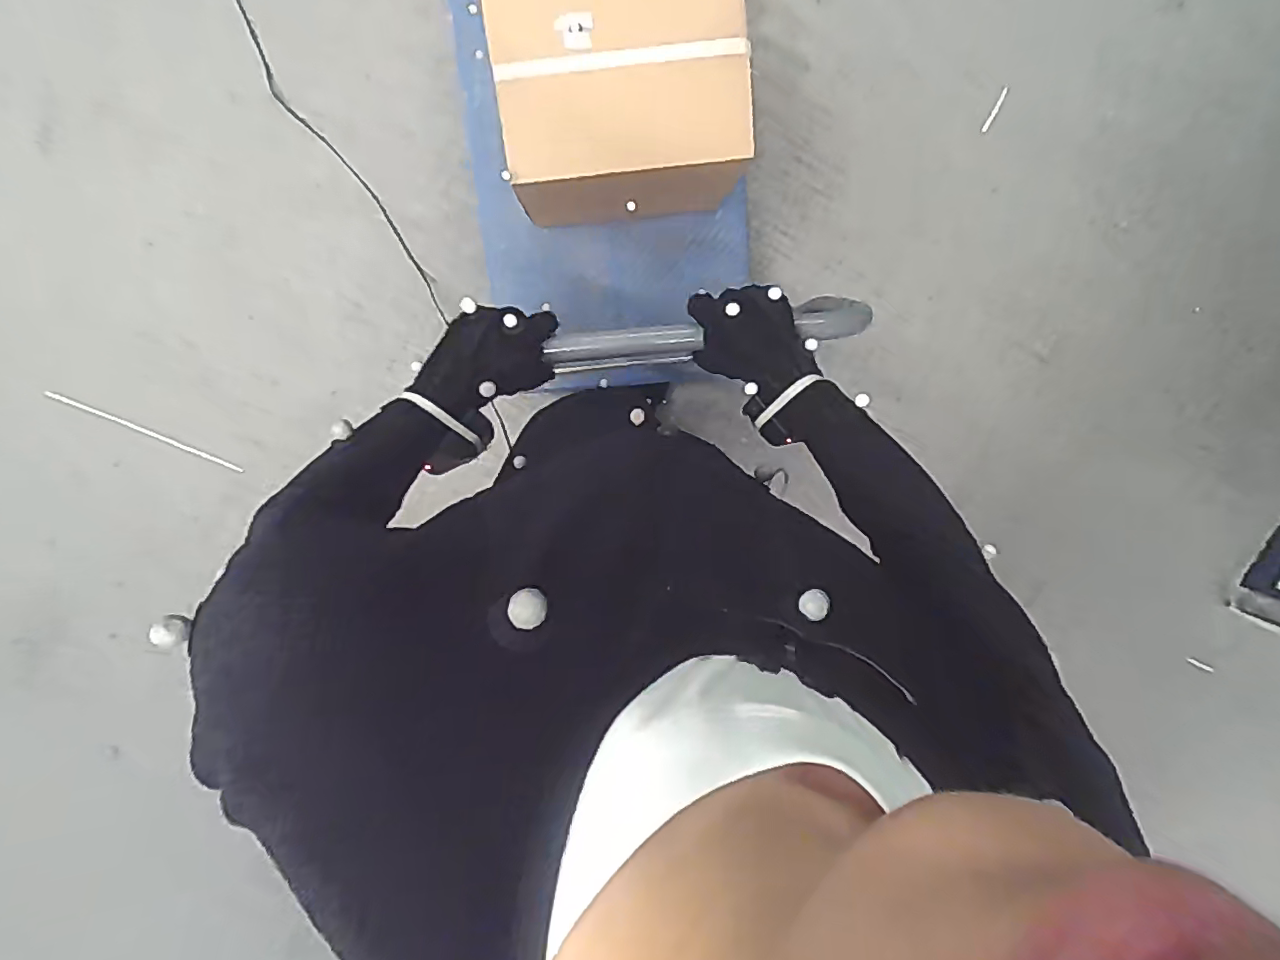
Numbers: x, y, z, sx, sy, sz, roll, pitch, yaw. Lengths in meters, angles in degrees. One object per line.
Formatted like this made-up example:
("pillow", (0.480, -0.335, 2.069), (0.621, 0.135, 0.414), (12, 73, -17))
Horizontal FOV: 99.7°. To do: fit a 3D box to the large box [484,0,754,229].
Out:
("large box", (-0.032, -0.685, 1.007), (0.408, 0.320, 0.320), (-8, 102, -1))
